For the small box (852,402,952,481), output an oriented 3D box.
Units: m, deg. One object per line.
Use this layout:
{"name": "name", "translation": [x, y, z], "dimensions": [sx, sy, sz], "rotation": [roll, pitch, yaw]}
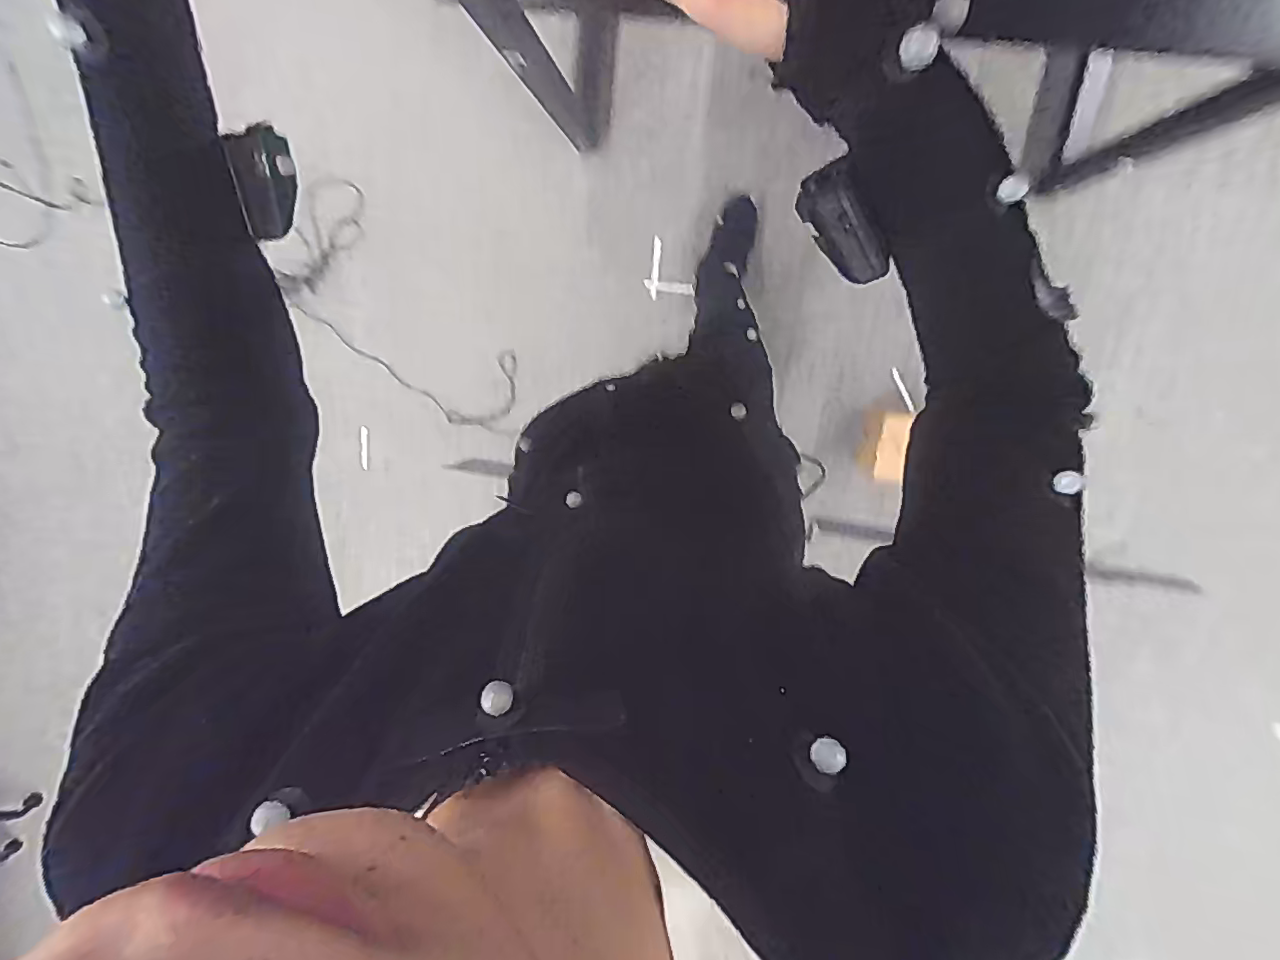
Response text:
{"name": "small box", "translation": [0.682, -0.107, 1.428], "dimensions": [0.179, 0.176, 0.168], "rotation": [8, 107, 6]}
